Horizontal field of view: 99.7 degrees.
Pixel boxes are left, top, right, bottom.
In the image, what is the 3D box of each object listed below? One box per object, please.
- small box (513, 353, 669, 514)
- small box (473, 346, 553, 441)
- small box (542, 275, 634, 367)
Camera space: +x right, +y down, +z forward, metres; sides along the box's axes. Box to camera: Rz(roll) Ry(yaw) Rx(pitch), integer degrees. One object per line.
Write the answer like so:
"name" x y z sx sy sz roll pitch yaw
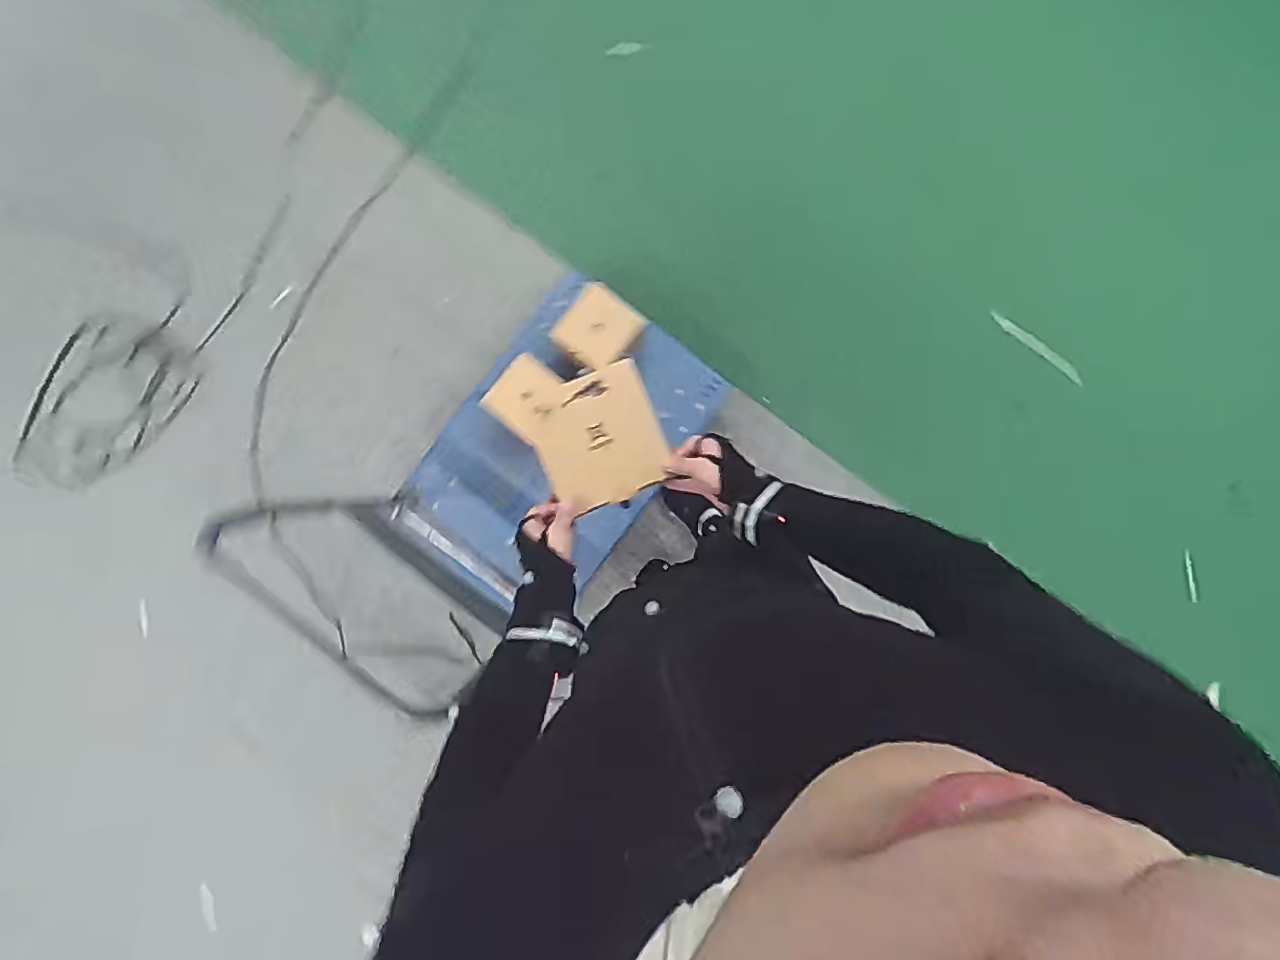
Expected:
"small box" -0.067 -0.063 0.798 0.168 0.176 0.179 -21 90 -4
"small box" -0.294 -0.210 1.400 0.179 0.176 0.168 40 89 2
"small box" -0.125 -0.389 1.409 0.168 0.176 0.179 38 88 1
